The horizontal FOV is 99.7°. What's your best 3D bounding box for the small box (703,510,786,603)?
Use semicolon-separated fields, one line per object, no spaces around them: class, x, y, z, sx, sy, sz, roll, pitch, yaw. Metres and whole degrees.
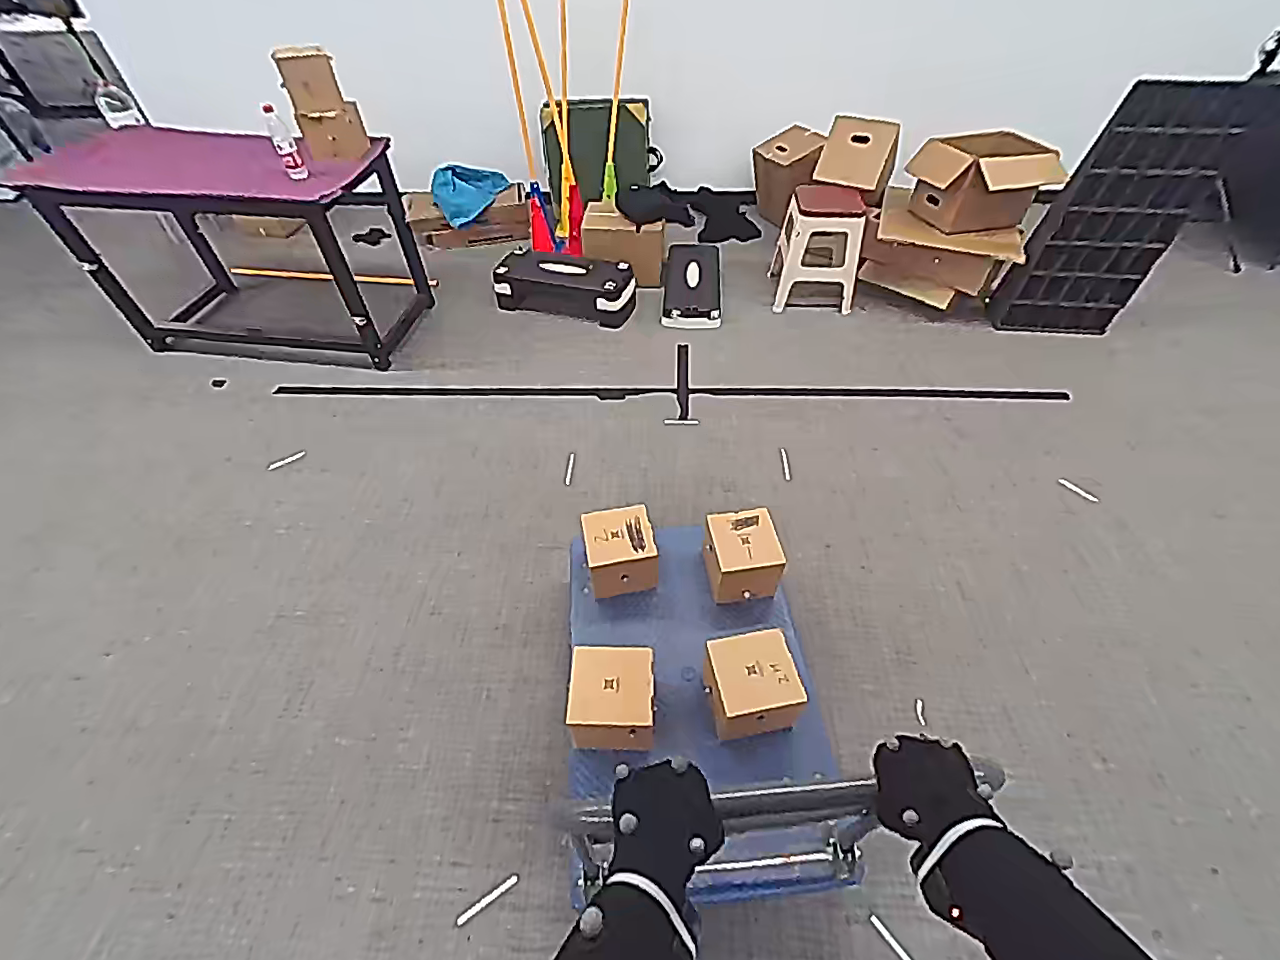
small box;0.269;0.204;1.437;0.168;0.176;0.179;-7;50;-5

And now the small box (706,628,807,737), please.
small box;0.249;0.459;1.215;0.179;0.176;0.168;-9;50;-6

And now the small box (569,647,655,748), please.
small box;-0.055;0.485;1.200;0.179;0.176;0.168;1;49;0
